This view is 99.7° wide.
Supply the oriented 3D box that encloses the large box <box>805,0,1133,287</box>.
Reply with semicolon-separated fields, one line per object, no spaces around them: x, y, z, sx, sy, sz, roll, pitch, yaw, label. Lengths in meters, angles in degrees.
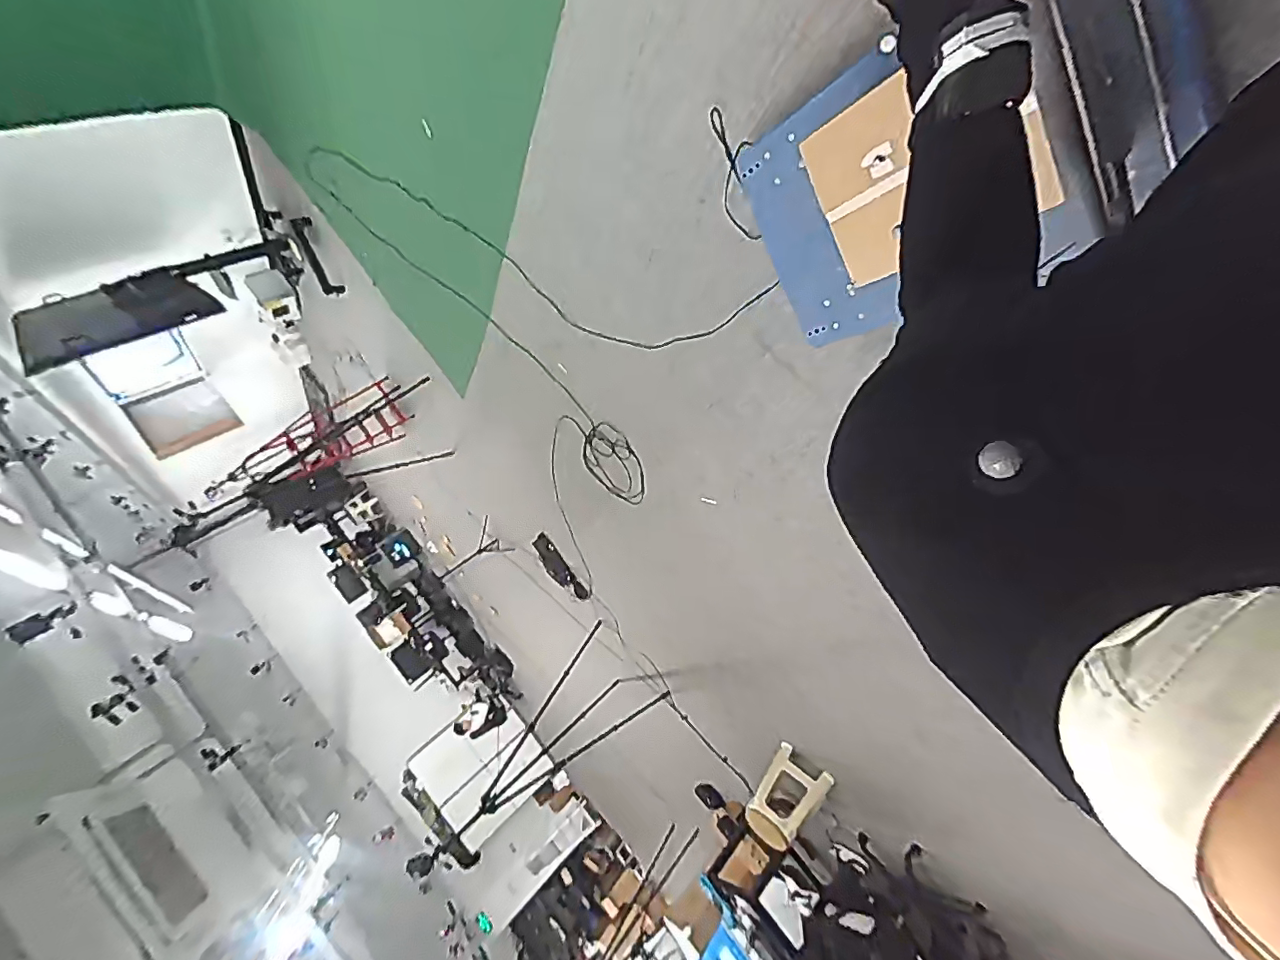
0.609;-0.633;1.027;0.408;0.320;0.320;-9;113;55;large box
